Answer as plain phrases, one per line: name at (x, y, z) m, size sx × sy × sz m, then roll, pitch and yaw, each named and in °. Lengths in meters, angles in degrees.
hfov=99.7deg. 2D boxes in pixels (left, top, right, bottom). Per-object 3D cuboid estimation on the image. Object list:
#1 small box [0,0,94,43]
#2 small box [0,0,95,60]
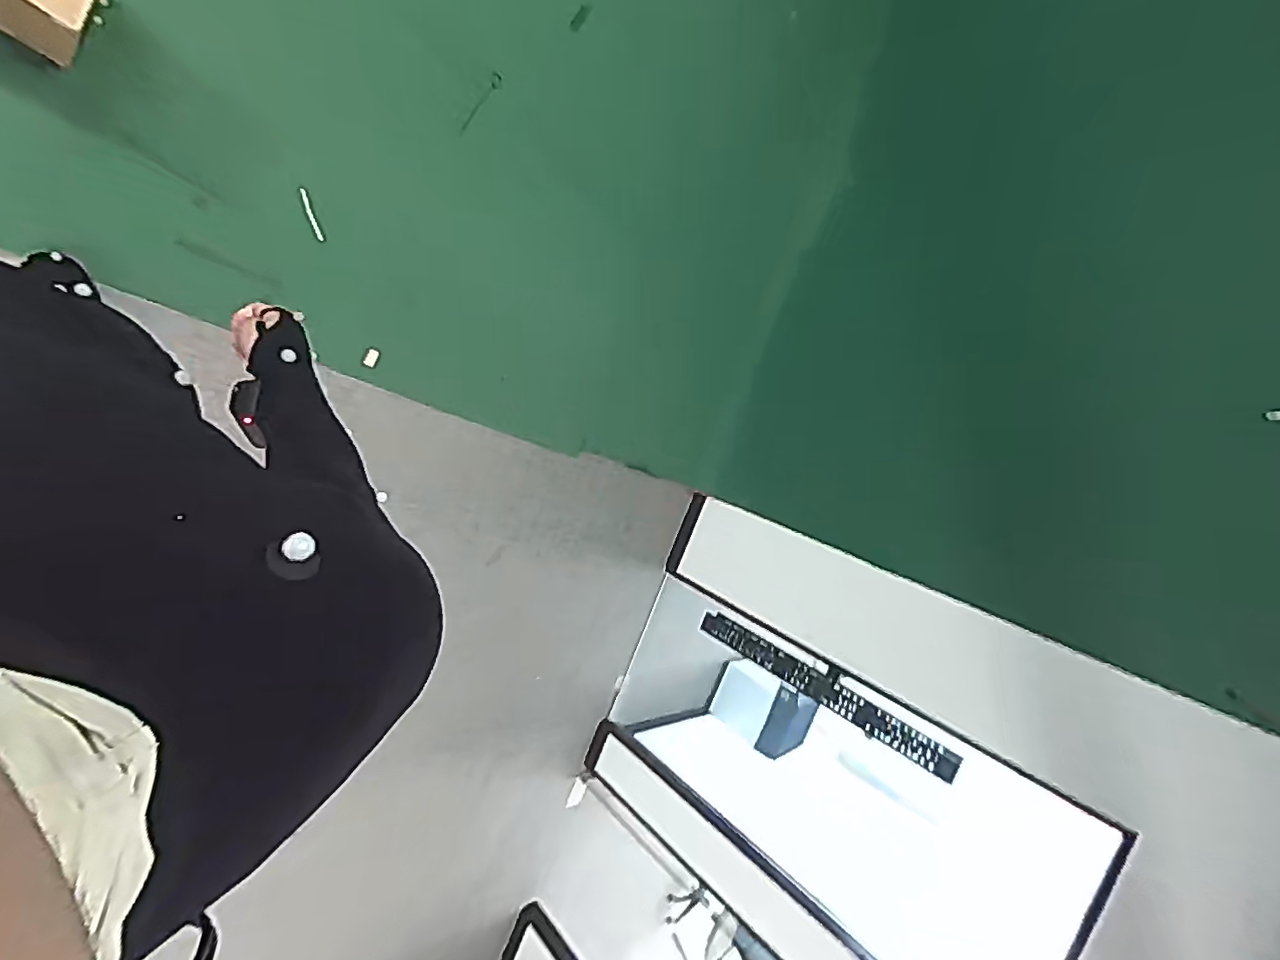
small box at (-0.900, -0.787, 0.784) m, size 0.168 × 0.176 × 0.179 m, roll 25°, pitch 90°, yaw -52°
small box at (-1.017, -0.841, 0.886) m, size 0.168 × 0.176 × 0.179 m, roll 23°, pitch 92°, yaw -52°
